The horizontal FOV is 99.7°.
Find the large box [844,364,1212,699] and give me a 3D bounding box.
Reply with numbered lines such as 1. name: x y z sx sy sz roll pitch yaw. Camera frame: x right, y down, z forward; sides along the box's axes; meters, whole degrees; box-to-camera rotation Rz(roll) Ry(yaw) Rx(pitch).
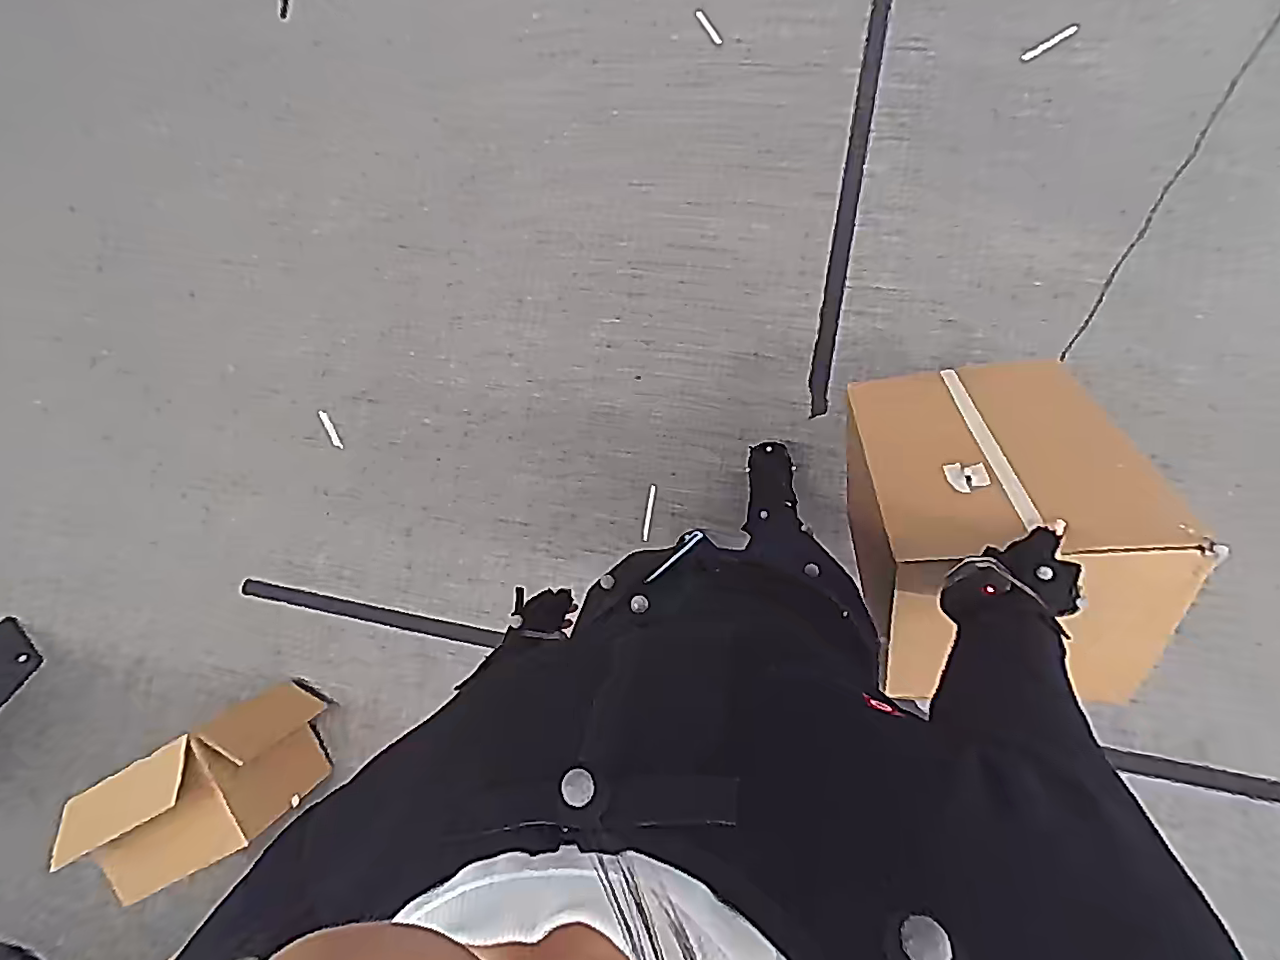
1. large box: 0.505 0.072 0.832 0.320 0.408 0.320 -6 131 16
